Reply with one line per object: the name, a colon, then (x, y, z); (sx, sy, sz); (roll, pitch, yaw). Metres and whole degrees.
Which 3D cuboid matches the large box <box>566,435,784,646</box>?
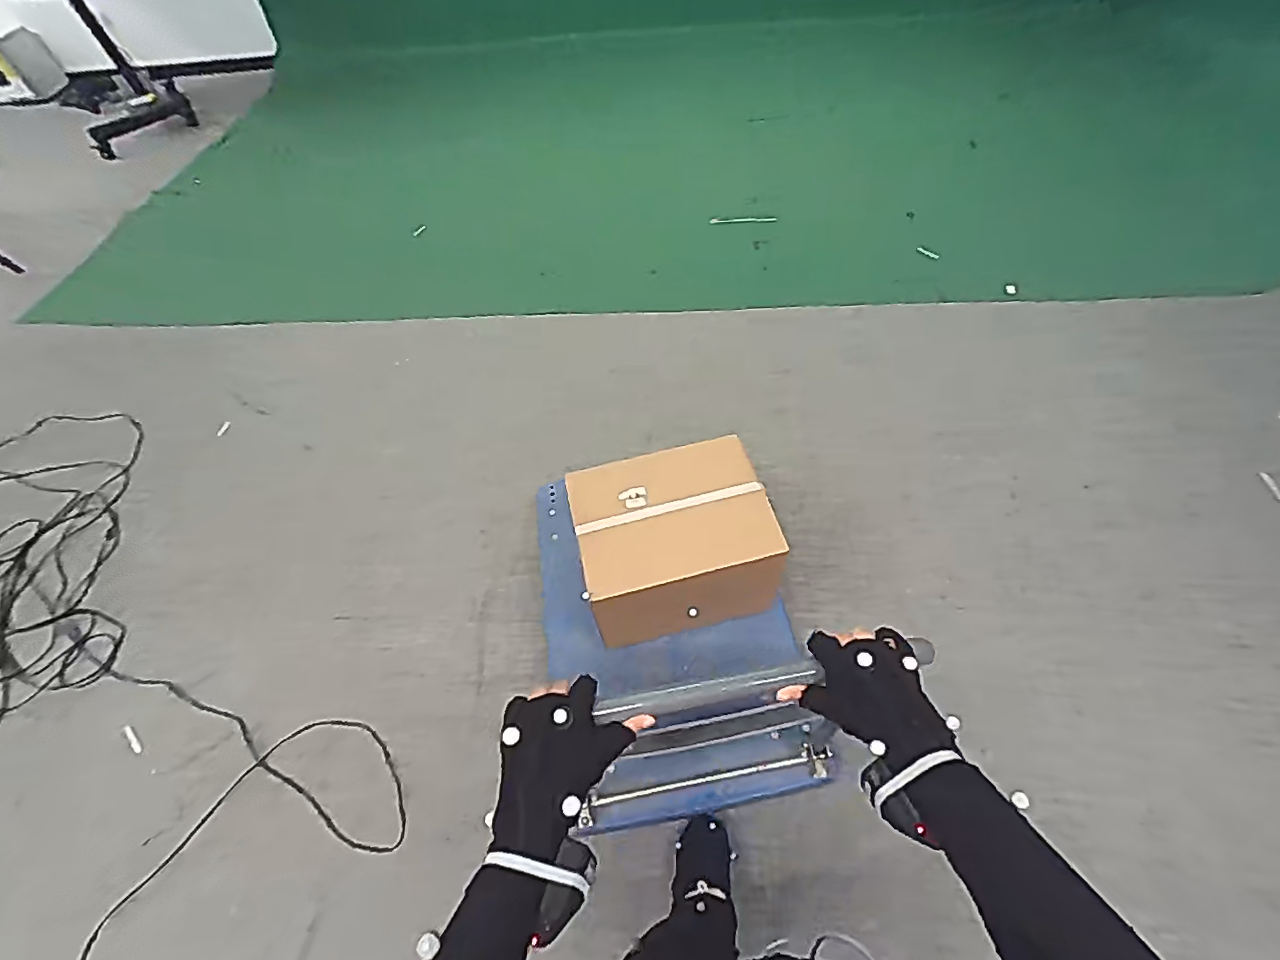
large box: (0.076, 0.149, 1.270); (0.408, 0.320, 0.320); (-16, 55, -4)
